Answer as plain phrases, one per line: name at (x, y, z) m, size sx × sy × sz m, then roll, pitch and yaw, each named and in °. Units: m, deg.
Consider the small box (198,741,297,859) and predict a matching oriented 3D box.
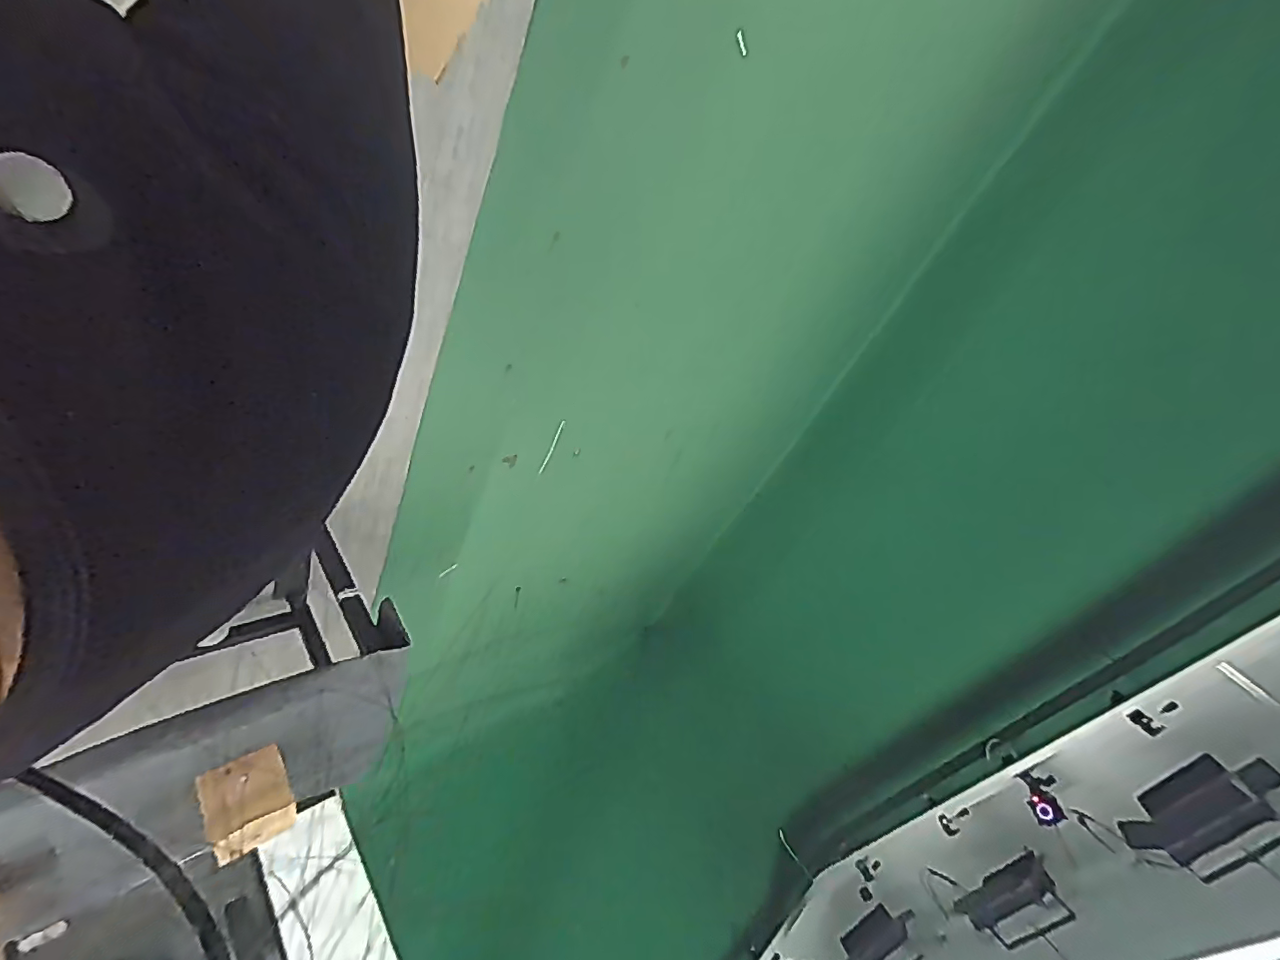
small box at (-0.973, 0.790, 1.347) m, size 0.168 × 0.176 × 0.179 m, roll -16°, pitch 144°, yaw -42°
